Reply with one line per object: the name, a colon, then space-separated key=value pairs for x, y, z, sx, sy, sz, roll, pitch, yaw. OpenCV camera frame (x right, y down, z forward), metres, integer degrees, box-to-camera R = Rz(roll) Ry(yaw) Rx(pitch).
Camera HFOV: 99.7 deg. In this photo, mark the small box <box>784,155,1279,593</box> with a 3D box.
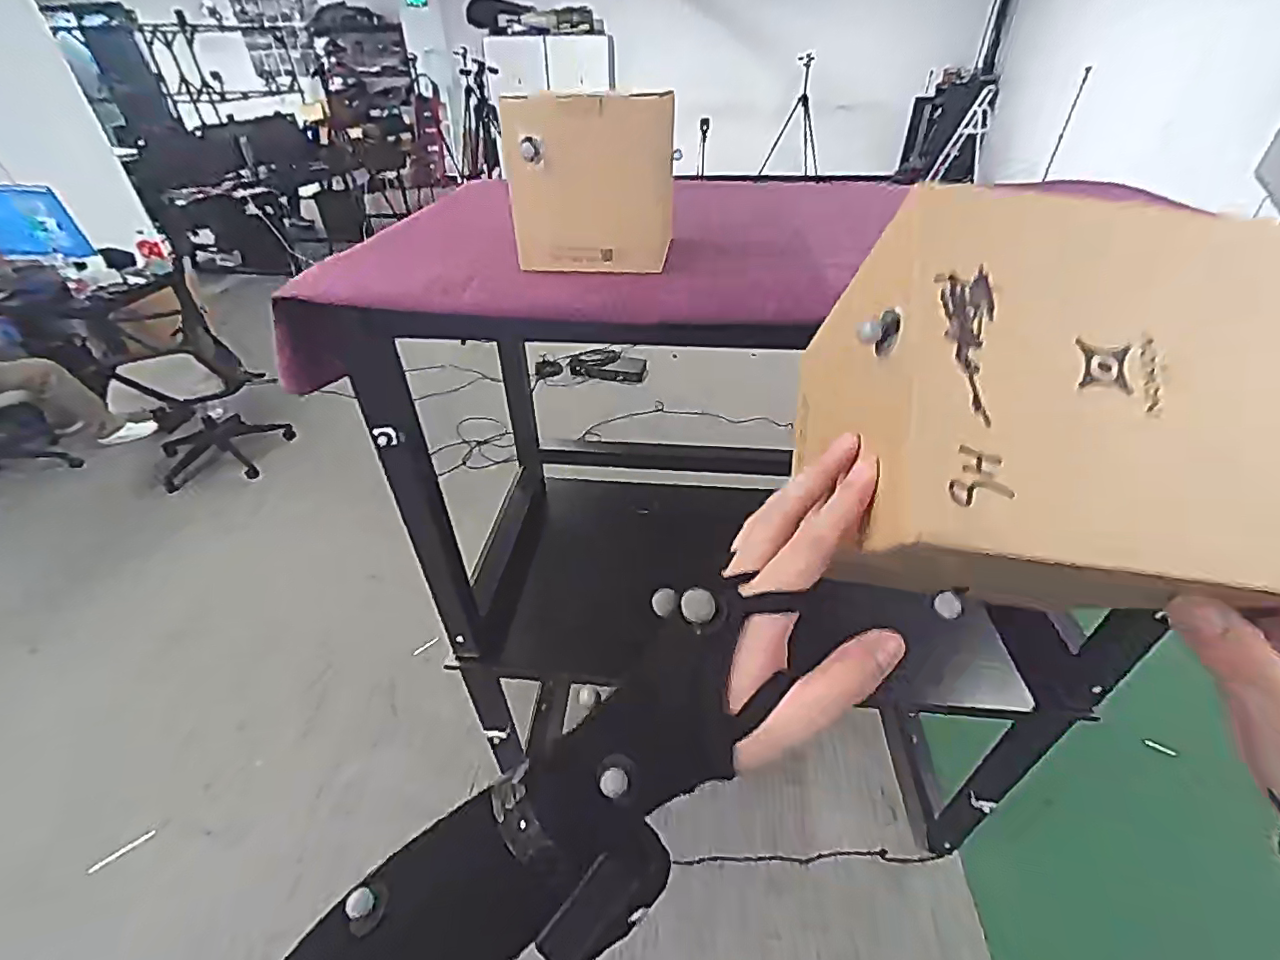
small box: x=0.195 y=-0.033 z=0.297 sx=0.179 sy=0.176 sz=0.168 roll=9 pitch=75 yaw=0
